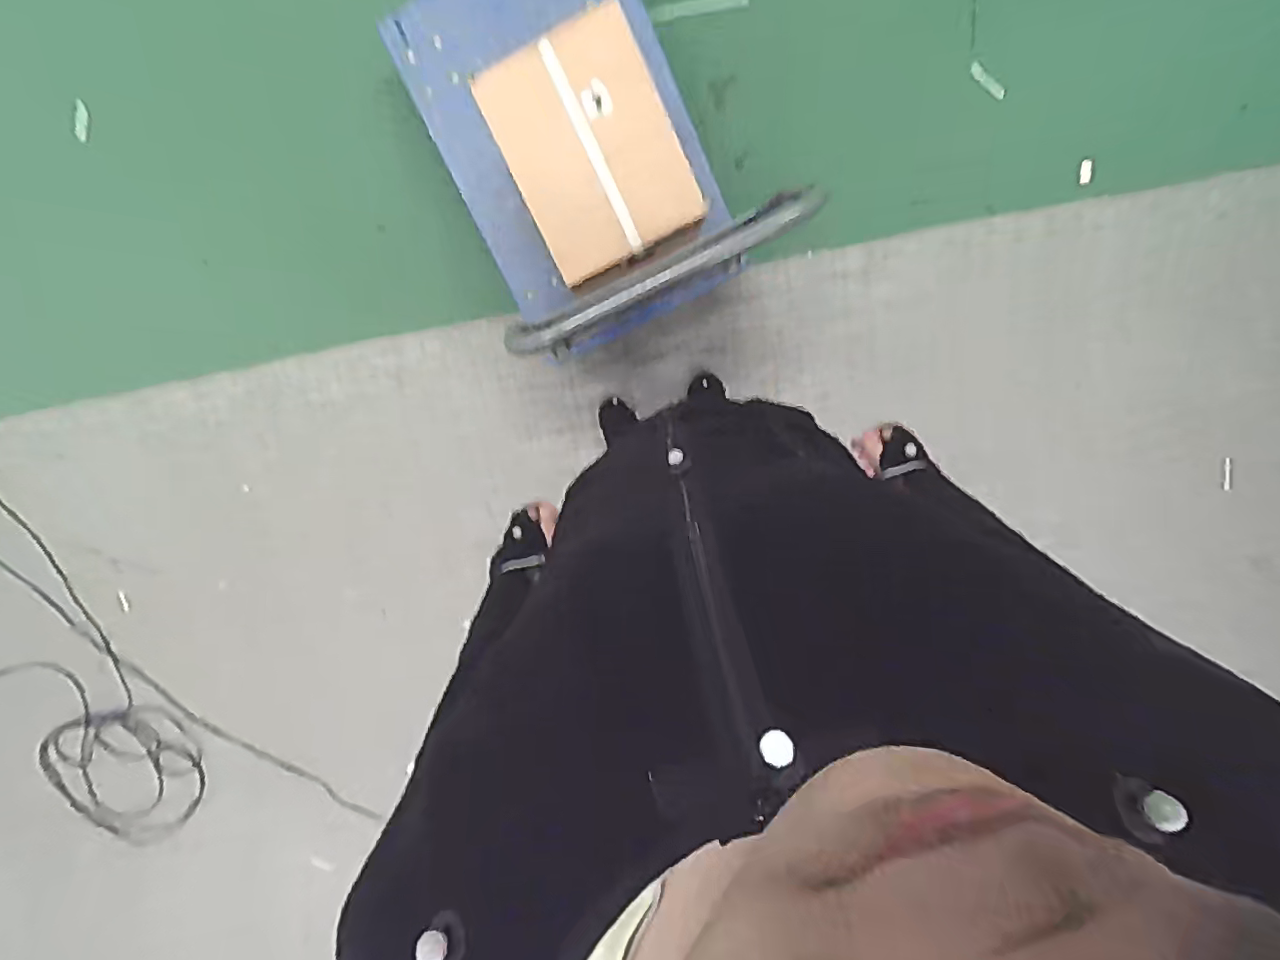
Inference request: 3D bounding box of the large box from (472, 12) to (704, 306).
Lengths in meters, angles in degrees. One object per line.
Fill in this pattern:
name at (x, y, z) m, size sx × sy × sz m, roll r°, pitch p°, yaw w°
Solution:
large box at (-0.092, -0.651, 1.186) m, size 0.320 × 0.320 × 0.408 m, roll -26°, pitch 99°, yaw 4°
